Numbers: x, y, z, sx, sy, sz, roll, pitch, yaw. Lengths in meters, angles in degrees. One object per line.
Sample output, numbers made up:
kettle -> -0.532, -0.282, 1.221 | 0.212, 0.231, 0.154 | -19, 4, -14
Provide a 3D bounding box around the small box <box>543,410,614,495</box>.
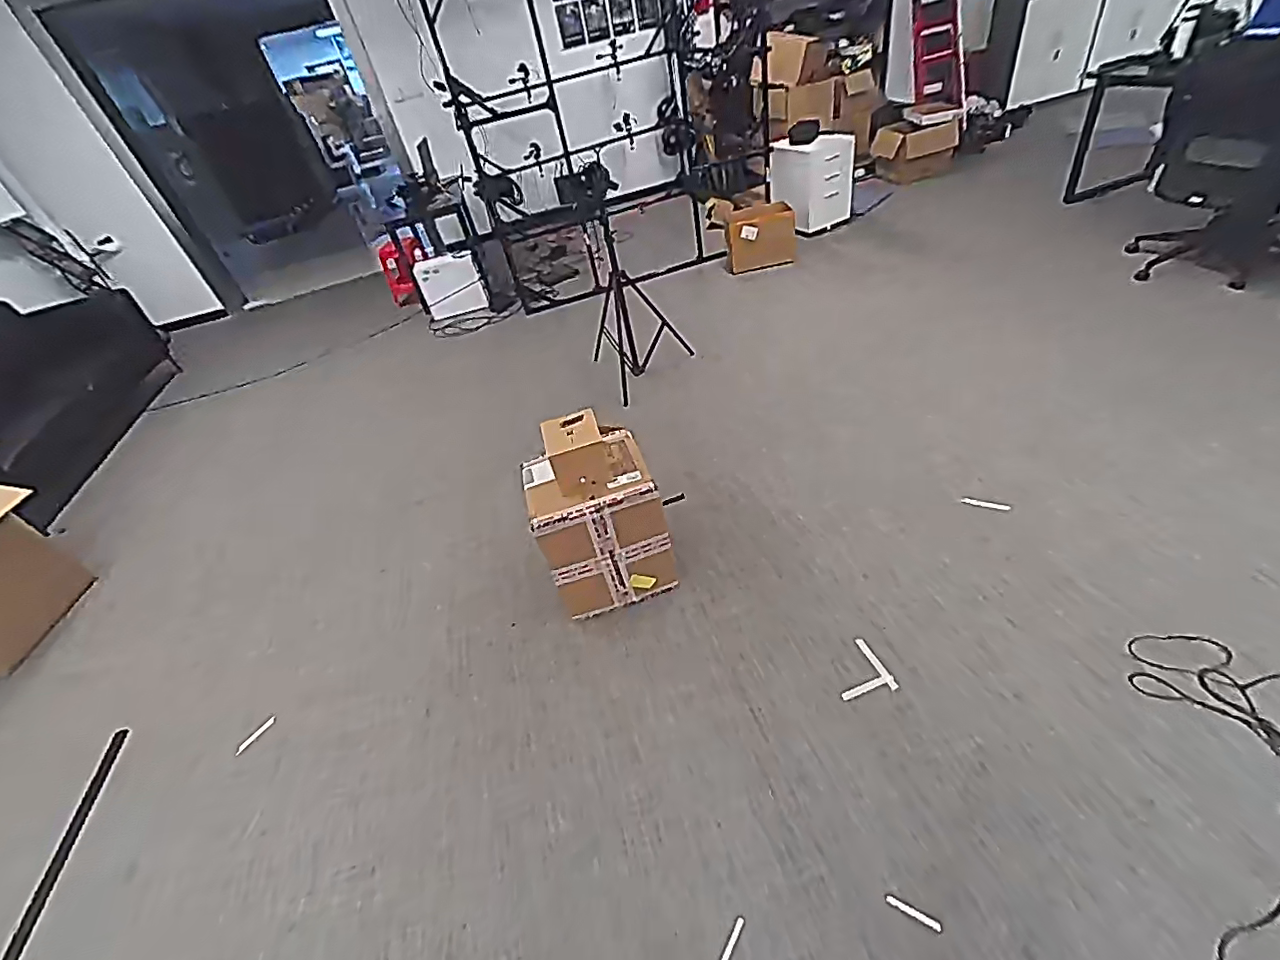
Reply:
small box -> -0.189, -0.083, 1.657 | 0.168, 0.176, 0.179 | -17, 43, -3
